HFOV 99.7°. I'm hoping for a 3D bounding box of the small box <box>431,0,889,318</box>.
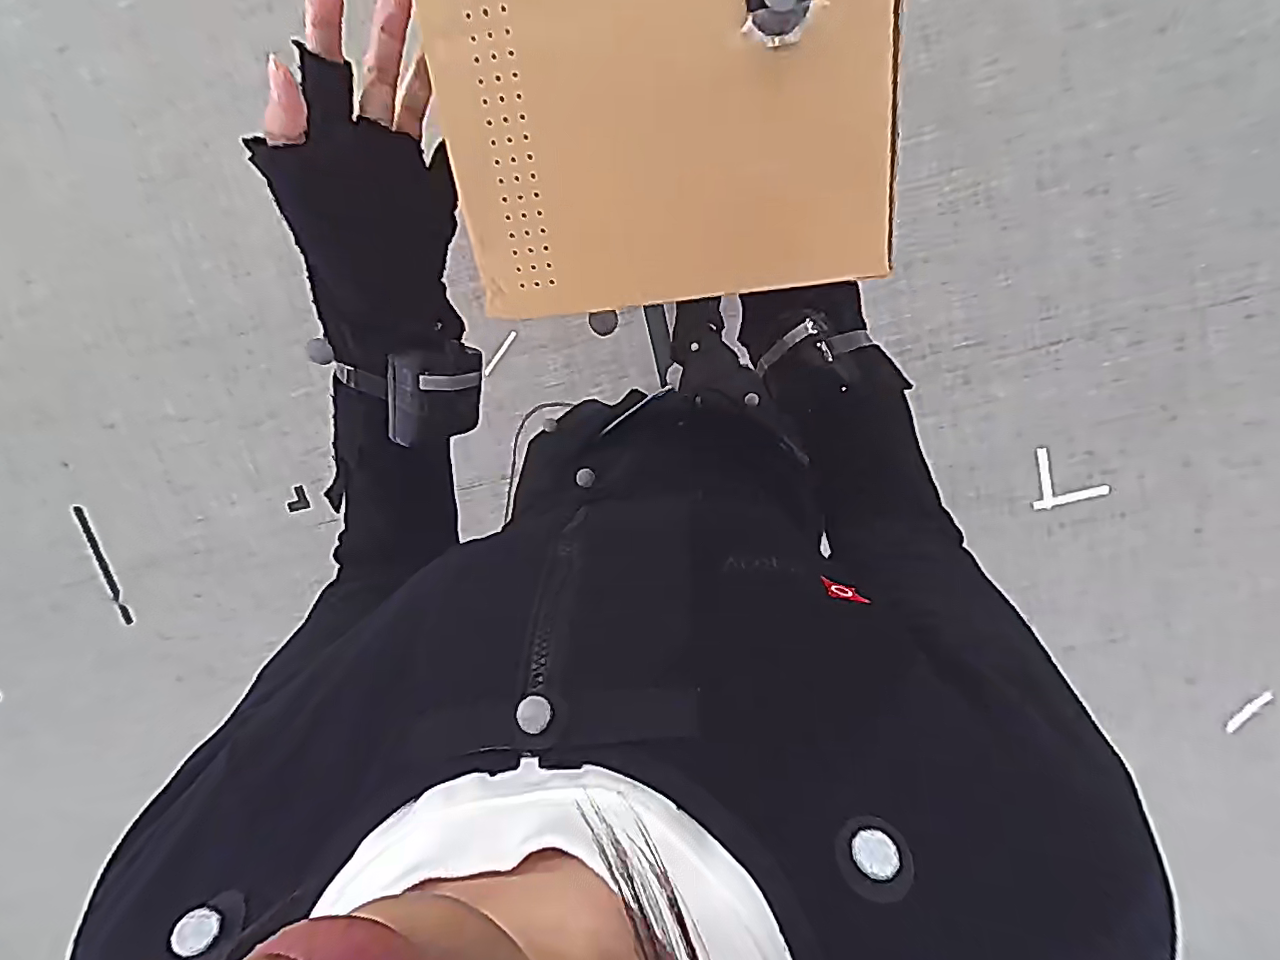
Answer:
[{"bbox_3d":[0.009,-0.189,0.273,0.176,0.168,0.179,-5,112,7],"label":"small box"}]
